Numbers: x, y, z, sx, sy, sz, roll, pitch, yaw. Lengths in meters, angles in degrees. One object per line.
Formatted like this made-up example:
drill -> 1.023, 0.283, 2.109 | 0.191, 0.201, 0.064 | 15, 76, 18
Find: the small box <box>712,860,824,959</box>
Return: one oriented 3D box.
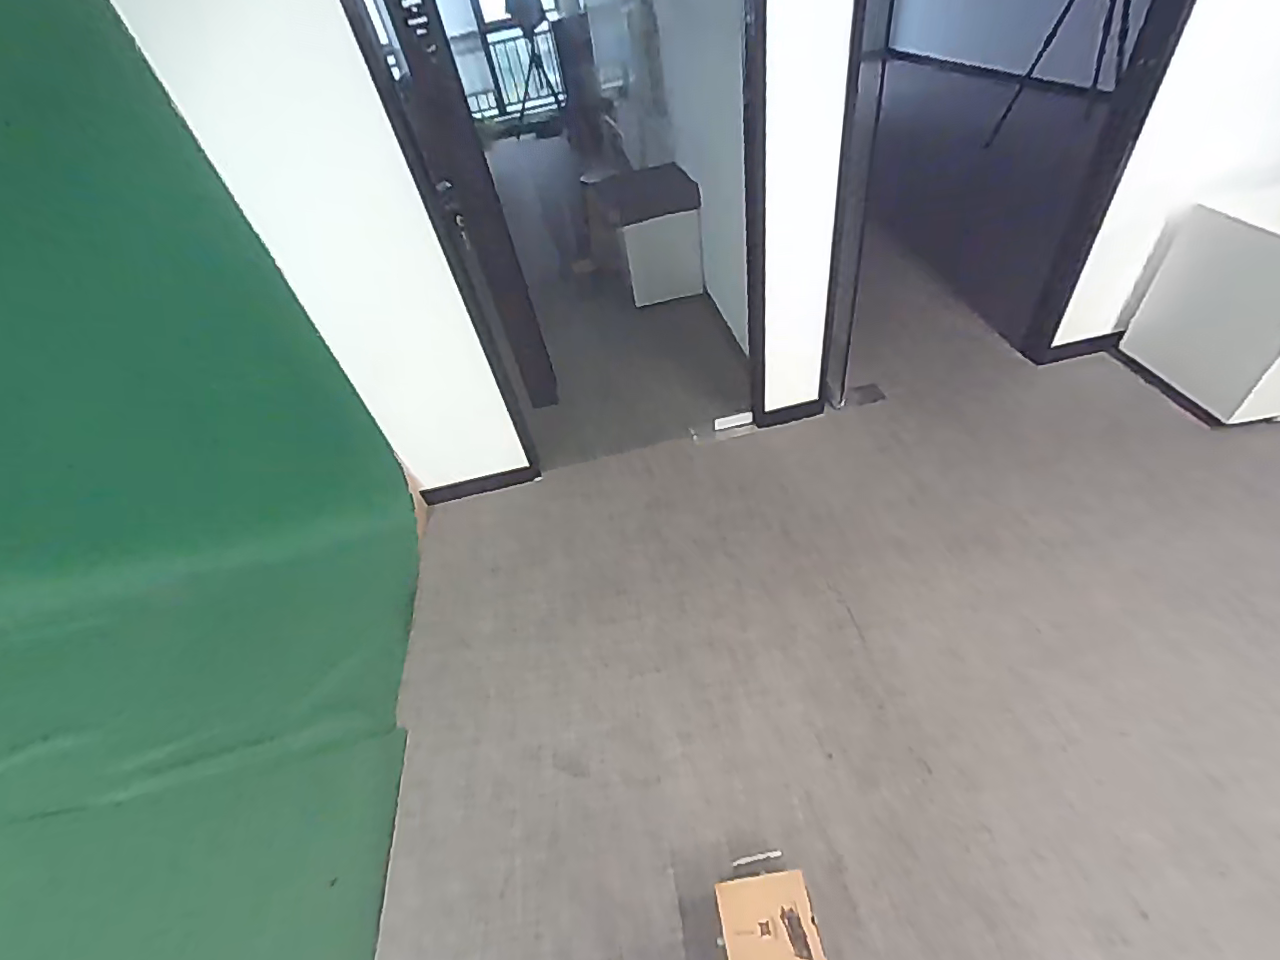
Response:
small box -> 0.247, 0.880, 1.073 | 0.179, 0.176, 0.168 | -12, 43, 2
